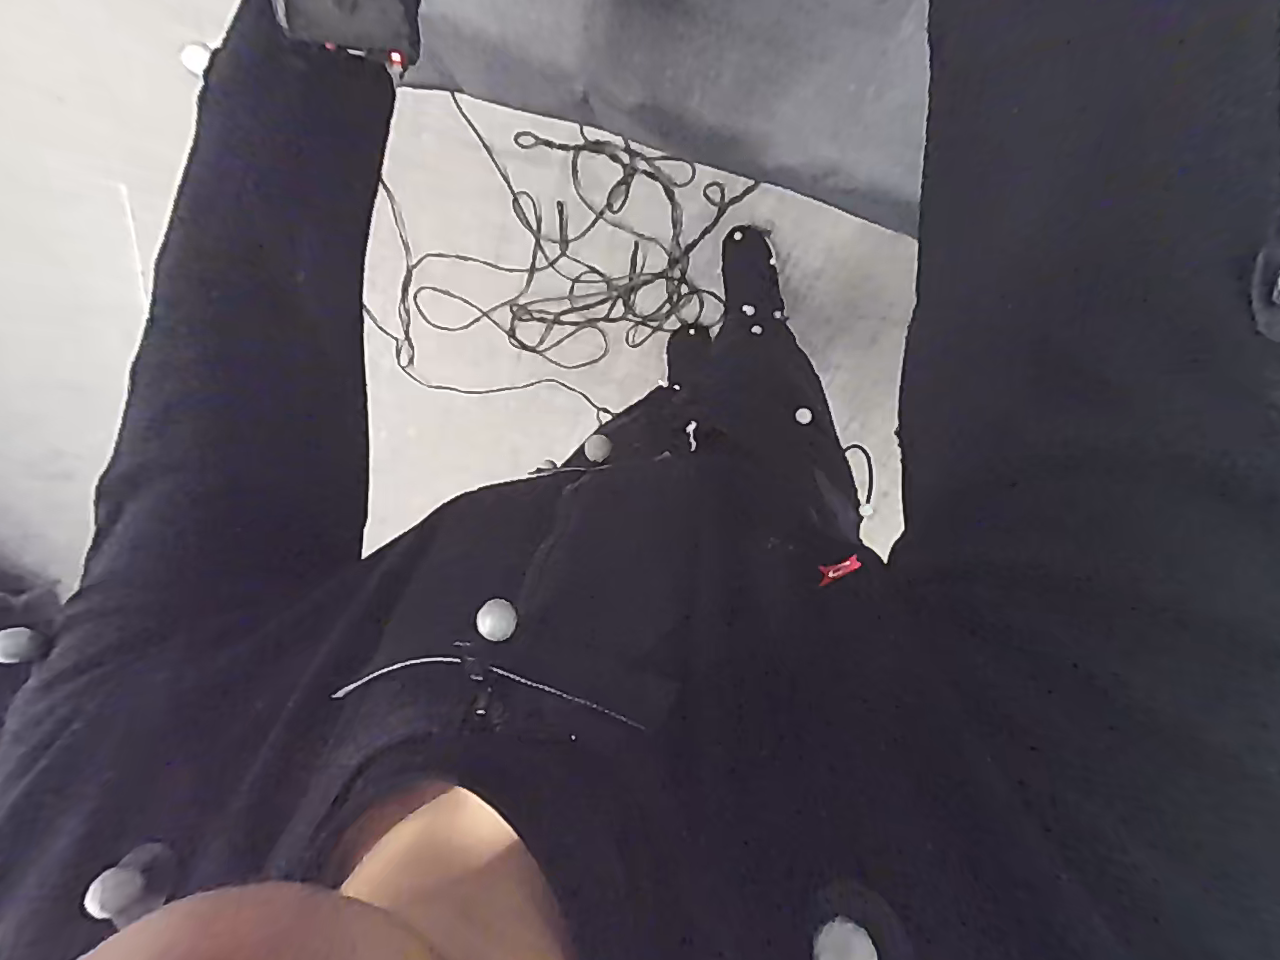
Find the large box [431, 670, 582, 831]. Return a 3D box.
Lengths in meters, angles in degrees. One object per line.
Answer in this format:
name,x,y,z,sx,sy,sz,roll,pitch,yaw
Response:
large box,-0.479,0.980,1.979,0.408,0.320,0.320,28,121,2
